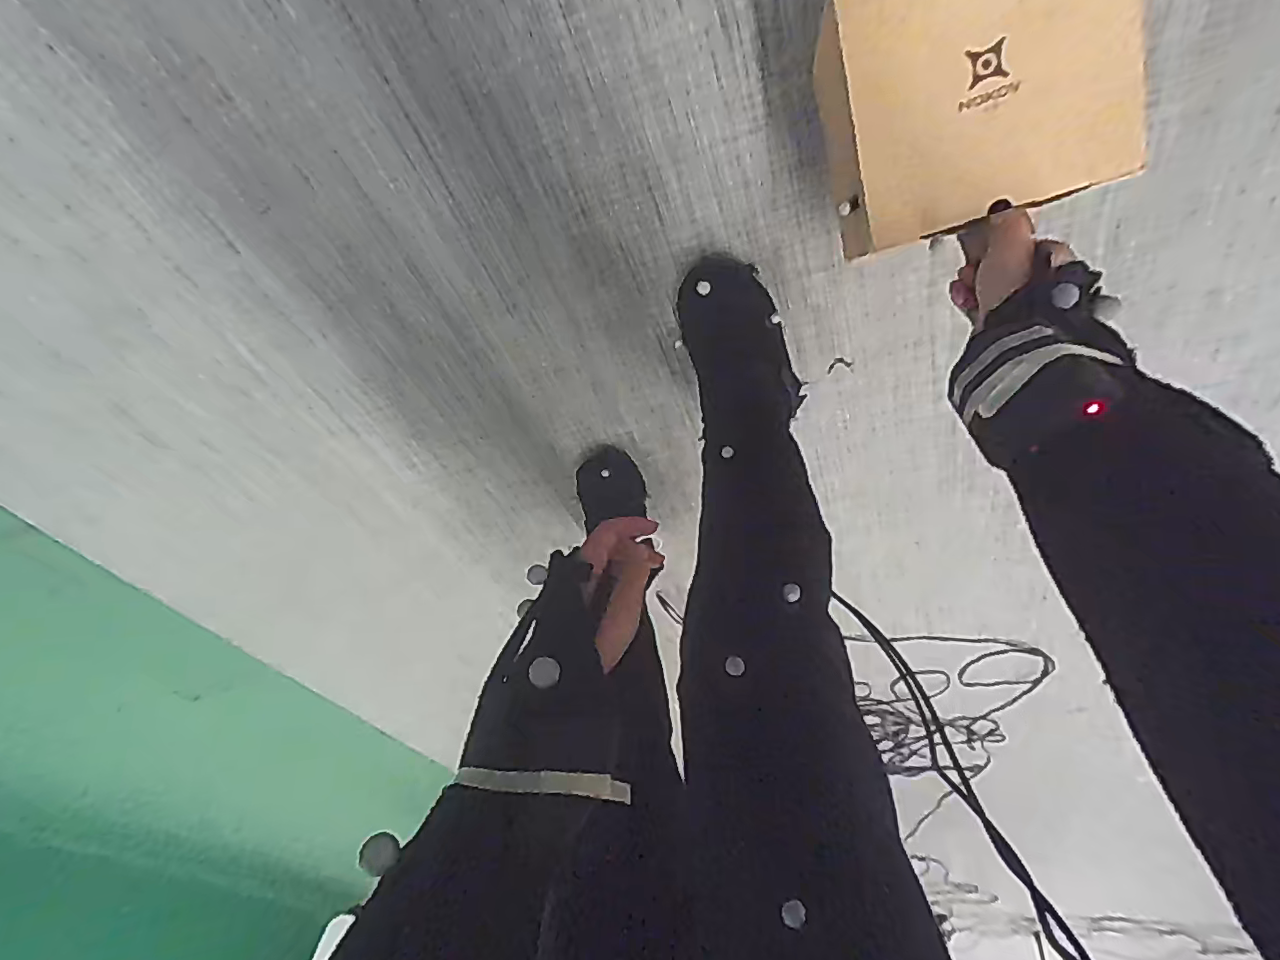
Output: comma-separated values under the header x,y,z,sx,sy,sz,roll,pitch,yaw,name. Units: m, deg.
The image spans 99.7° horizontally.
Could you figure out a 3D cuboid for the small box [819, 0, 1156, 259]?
x,y,z,sx,sy,sz,roll,pitch,yaw,name
0.240,-0.288,0.415,0.168,0.176,0.179,-12,104,18,small box
